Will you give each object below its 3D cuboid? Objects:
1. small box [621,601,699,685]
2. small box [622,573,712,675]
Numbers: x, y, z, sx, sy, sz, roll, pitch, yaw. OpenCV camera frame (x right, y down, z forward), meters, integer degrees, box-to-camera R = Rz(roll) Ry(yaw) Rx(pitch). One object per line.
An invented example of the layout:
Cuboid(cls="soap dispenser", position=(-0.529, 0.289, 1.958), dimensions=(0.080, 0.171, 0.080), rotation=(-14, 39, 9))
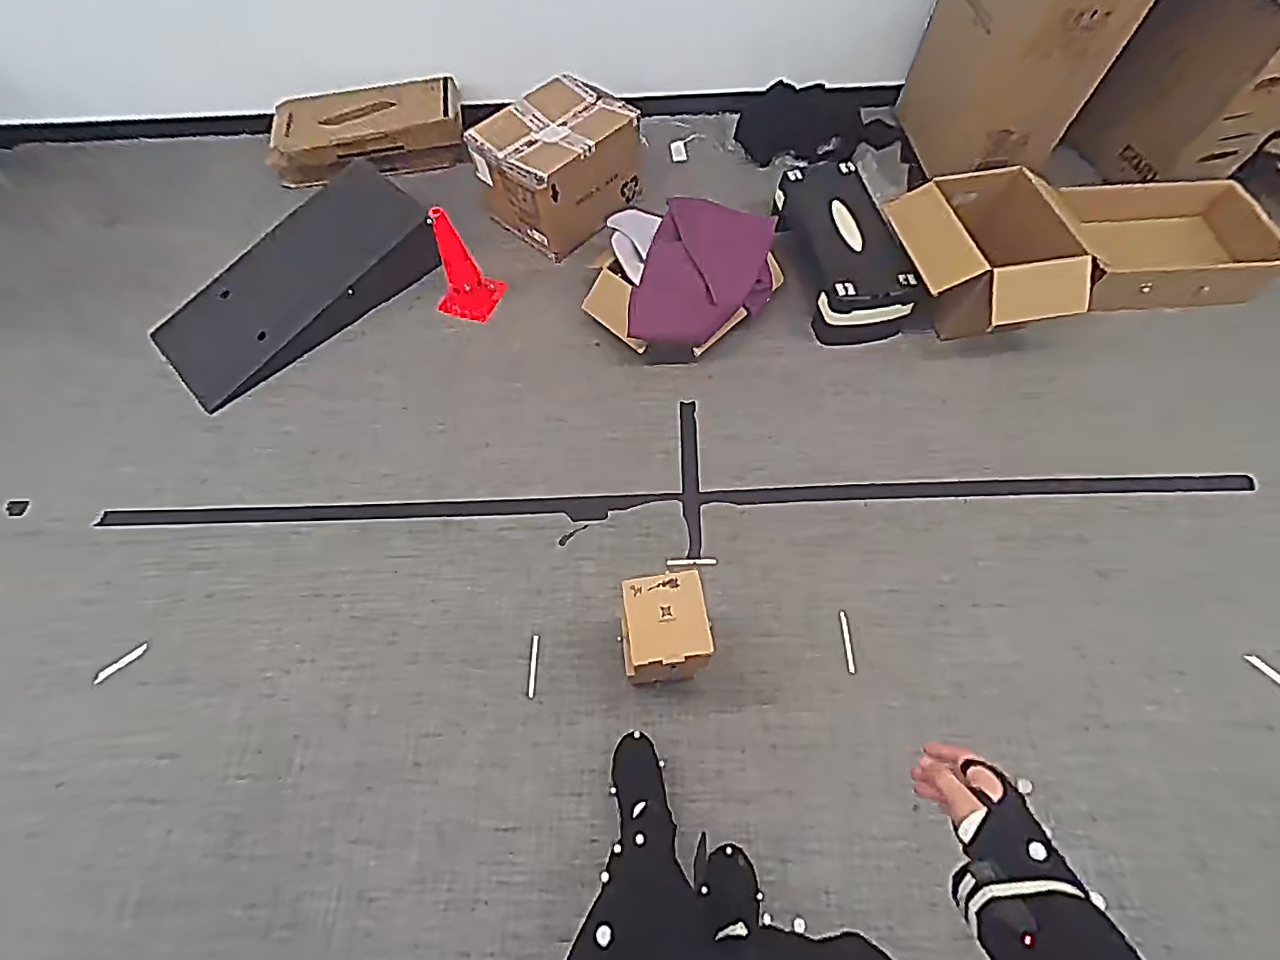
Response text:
Cuboid(cls="small box", position=(0.046, 0.391, 1.313), dimensions=(0.168, 0.176, 0.179), rotation=(-7, 64, 0))
Cuboid(cls="small box", position=(0.058, 0.317, 1.166), dimensions=(0.168, 0.176, 0.179), rotation=(-8, 63, -1))
